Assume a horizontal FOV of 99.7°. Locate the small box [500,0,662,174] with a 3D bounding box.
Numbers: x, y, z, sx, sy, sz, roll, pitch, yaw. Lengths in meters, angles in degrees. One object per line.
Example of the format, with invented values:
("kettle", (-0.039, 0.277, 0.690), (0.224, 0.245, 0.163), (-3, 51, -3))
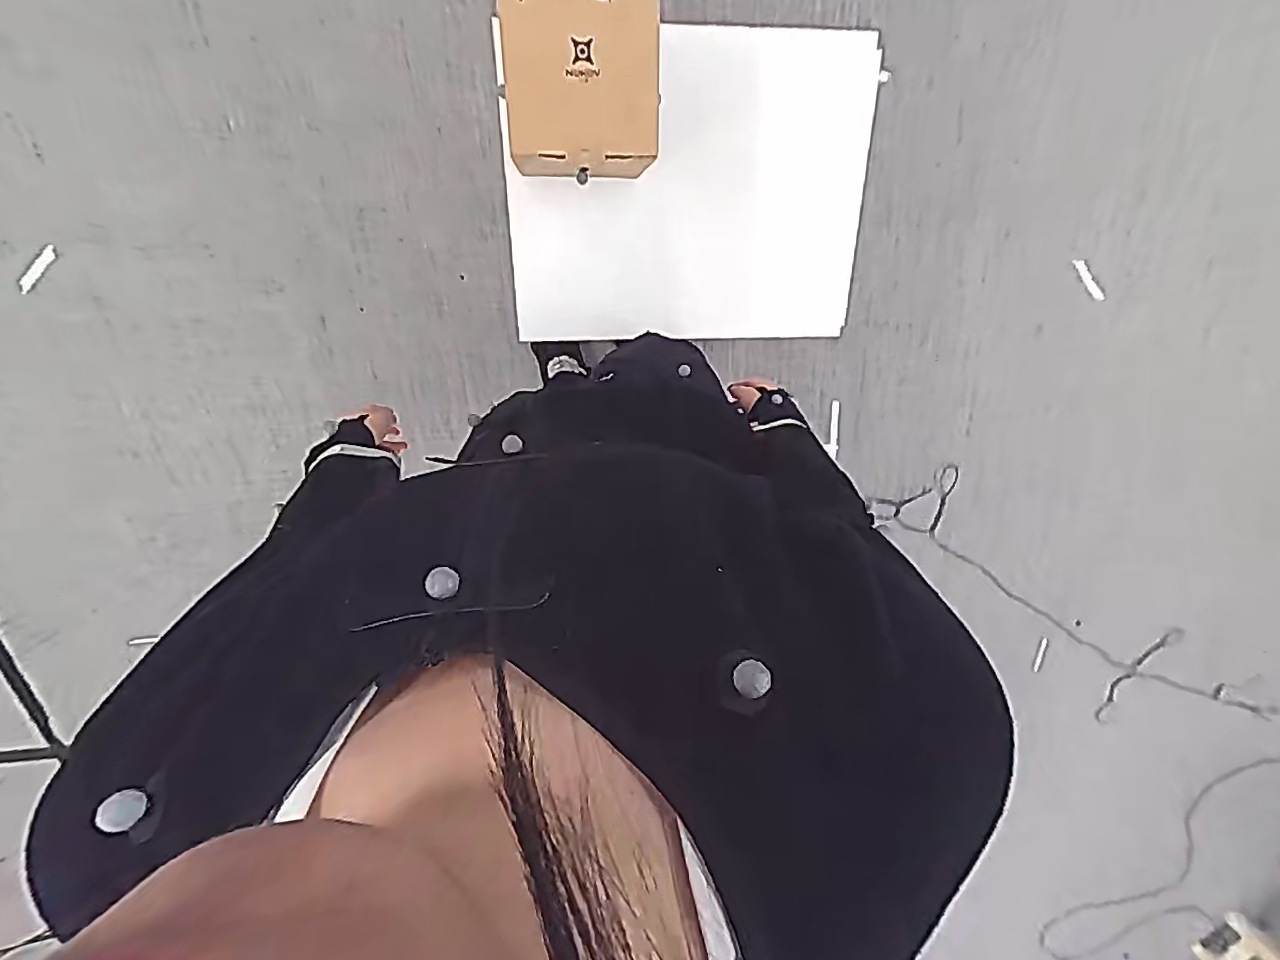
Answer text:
("small box", (-0.068, -0.468, 0.637), (0.168, 0.176, 0.179), (-3, 114, -7))
